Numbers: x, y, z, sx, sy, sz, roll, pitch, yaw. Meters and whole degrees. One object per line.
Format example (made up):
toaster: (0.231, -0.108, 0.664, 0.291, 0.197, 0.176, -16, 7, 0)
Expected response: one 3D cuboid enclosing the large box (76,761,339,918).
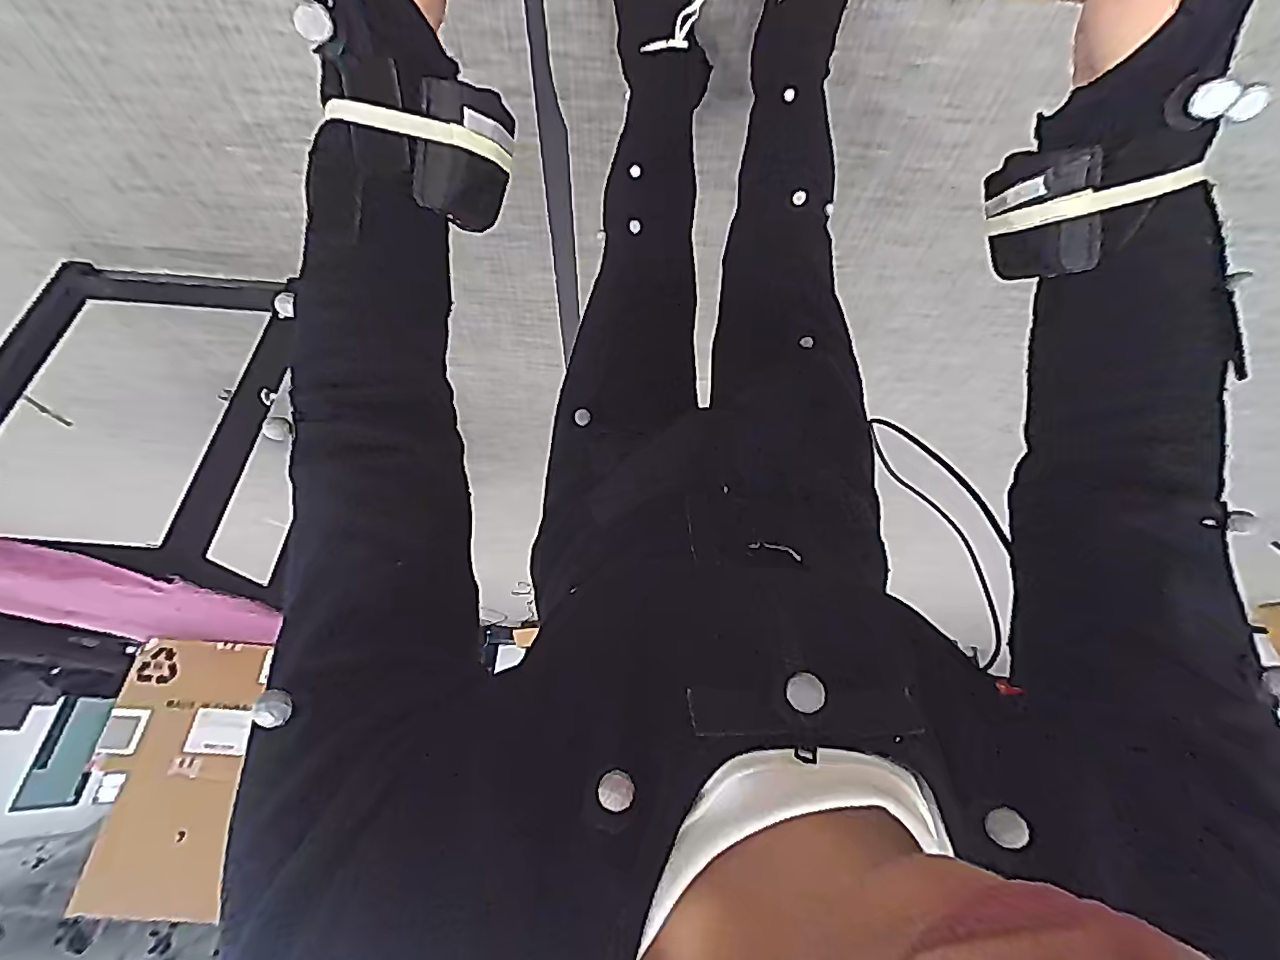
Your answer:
large box: (-1.118, 0.940, 1.456, 0.408, 0.320, 0.320, 3, 155, -1)
